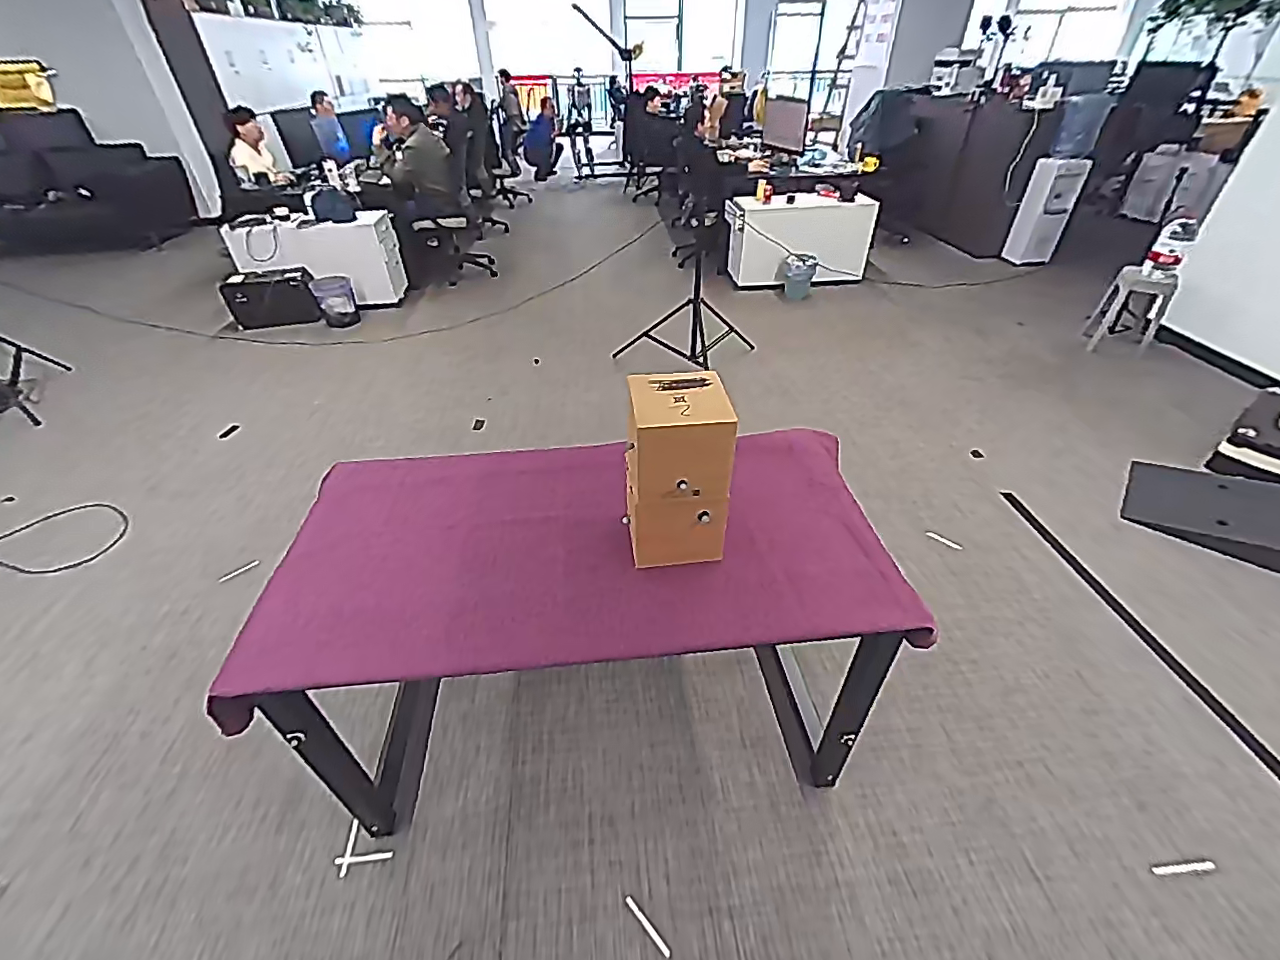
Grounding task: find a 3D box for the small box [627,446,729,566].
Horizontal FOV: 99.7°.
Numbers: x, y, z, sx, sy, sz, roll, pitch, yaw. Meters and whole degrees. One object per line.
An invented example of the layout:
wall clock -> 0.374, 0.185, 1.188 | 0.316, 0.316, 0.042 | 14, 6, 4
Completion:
small box -> 0.068, 0.053, 1.078 | 0.179, 0.176, 0.168 | -6, 38, -4
